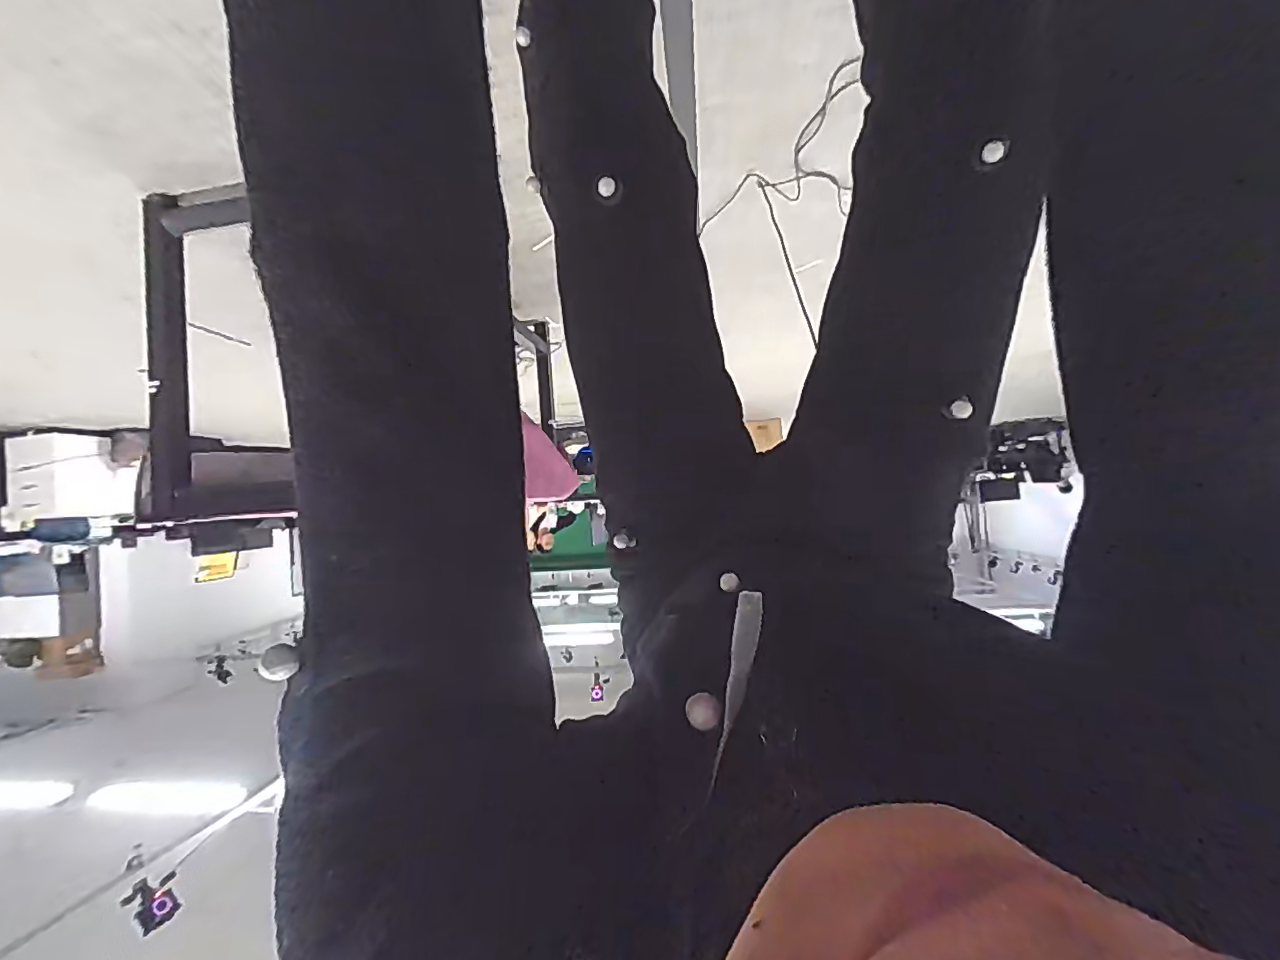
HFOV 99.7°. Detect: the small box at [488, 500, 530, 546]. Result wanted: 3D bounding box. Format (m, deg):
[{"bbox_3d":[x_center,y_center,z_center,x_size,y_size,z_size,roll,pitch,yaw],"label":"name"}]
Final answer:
[{"bbox_3d":[-0.550,0.169,2.131,0.179,0.176,0.168,-5,178,12],"label":"small box"}]
